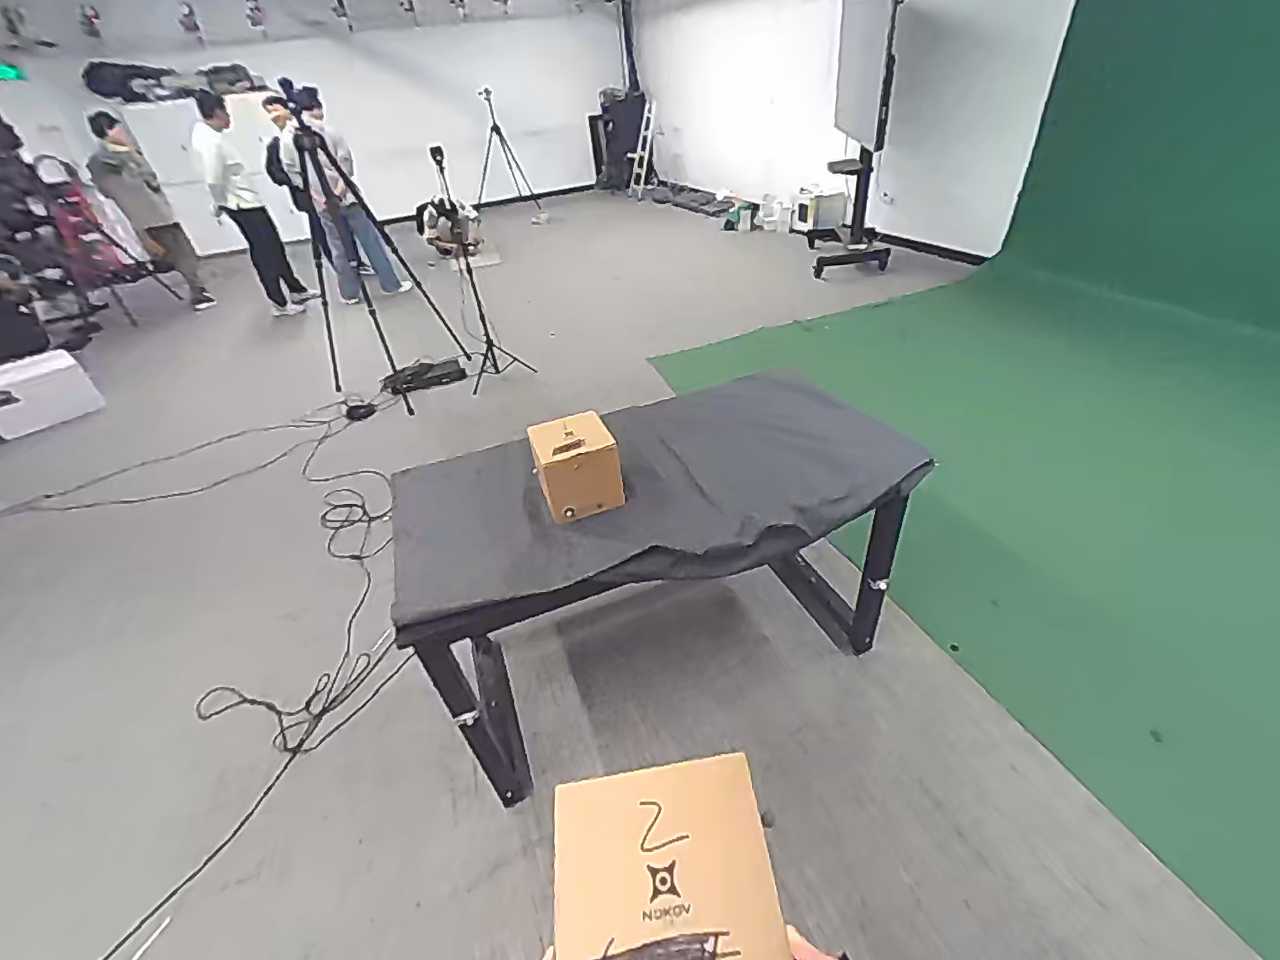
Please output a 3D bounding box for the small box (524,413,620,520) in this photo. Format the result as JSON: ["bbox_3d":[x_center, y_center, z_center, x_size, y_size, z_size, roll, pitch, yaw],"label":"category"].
[{"bbox_3d":[-0.153,-0.027,1.238,0.168,0.176,0.179,-17,37,-14],"label":"small box"}]
